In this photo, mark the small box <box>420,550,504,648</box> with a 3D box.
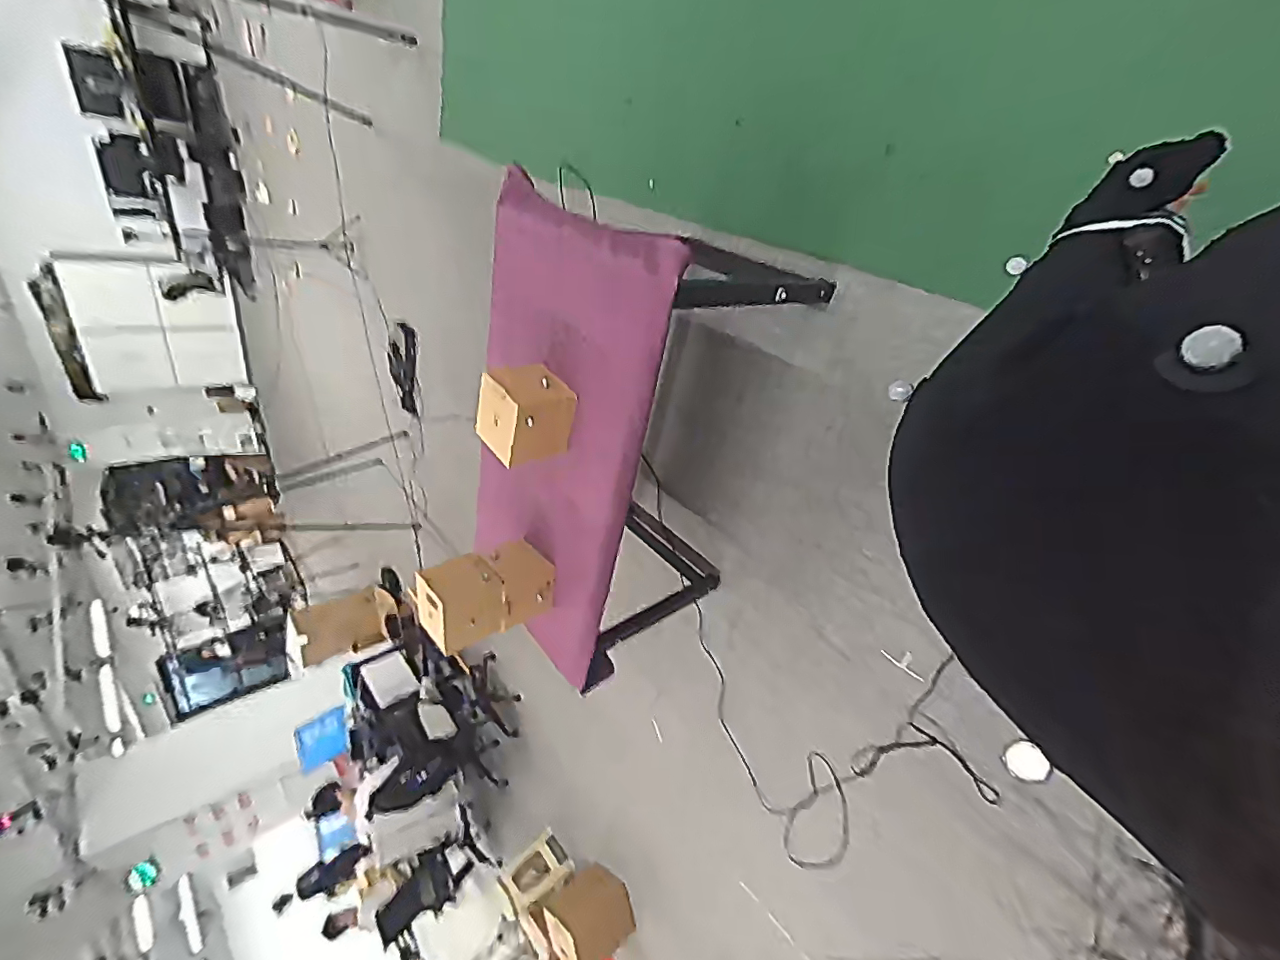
[{"bbox_3d":[-0.488,0.318,1.484,0.168,0.176,0.179,36,127,39],"label":"small box"}]

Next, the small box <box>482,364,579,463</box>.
[{"bbox_3d":[-0.270,-0.170,1.332,0.168,0.176,0.179,43,131,31],"label":"small box"}]

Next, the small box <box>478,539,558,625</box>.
[{"bbox_3d":[-0.364,0.290,1.592,0.179,0.176,0.168,32,125,38],"label":"small box"}]
